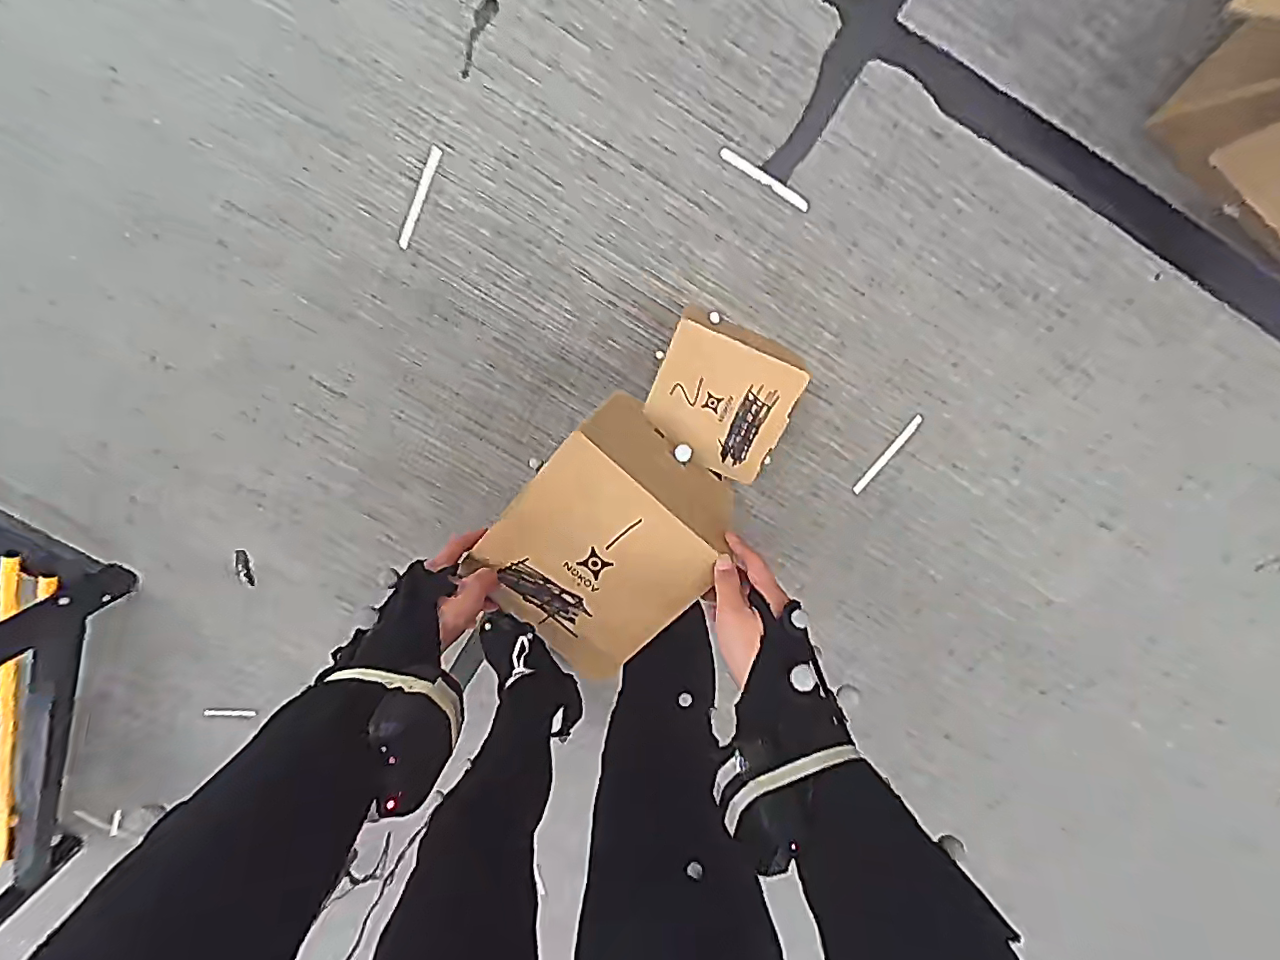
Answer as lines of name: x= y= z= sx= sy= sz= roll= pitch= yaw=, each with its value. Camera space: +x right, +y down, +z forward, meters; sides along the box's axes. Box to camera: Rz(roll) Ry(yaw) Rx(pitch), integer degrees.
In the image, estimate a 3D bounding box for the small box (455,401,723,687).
small box: x=-0.034 y=0.050 z=0.519 sx=0.168 sy=0.176 sz=0.179 roll=42 pitch=110 yaw=-7
